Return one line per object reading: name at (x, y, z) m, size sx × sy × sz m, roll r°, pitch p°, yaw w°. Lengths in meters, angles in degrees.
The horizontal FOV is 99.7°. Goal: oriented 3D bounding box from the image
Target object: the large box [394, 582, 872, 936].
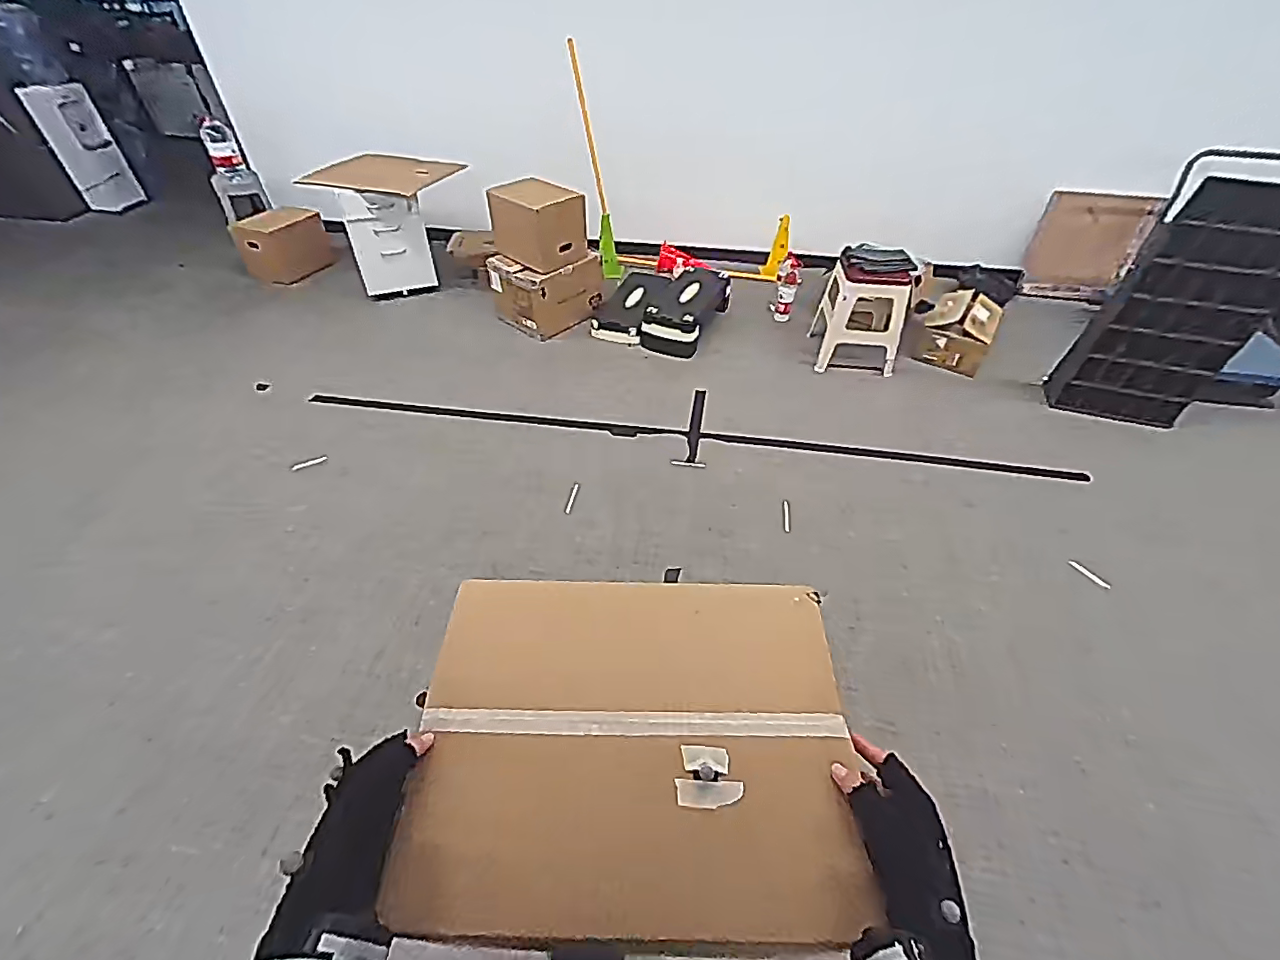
large box at (-0.007, 0.338, 0.651) m, size 0.408 × 0.320 × 0.320 m, roll 1°, pitch 48°, yaw 0°
